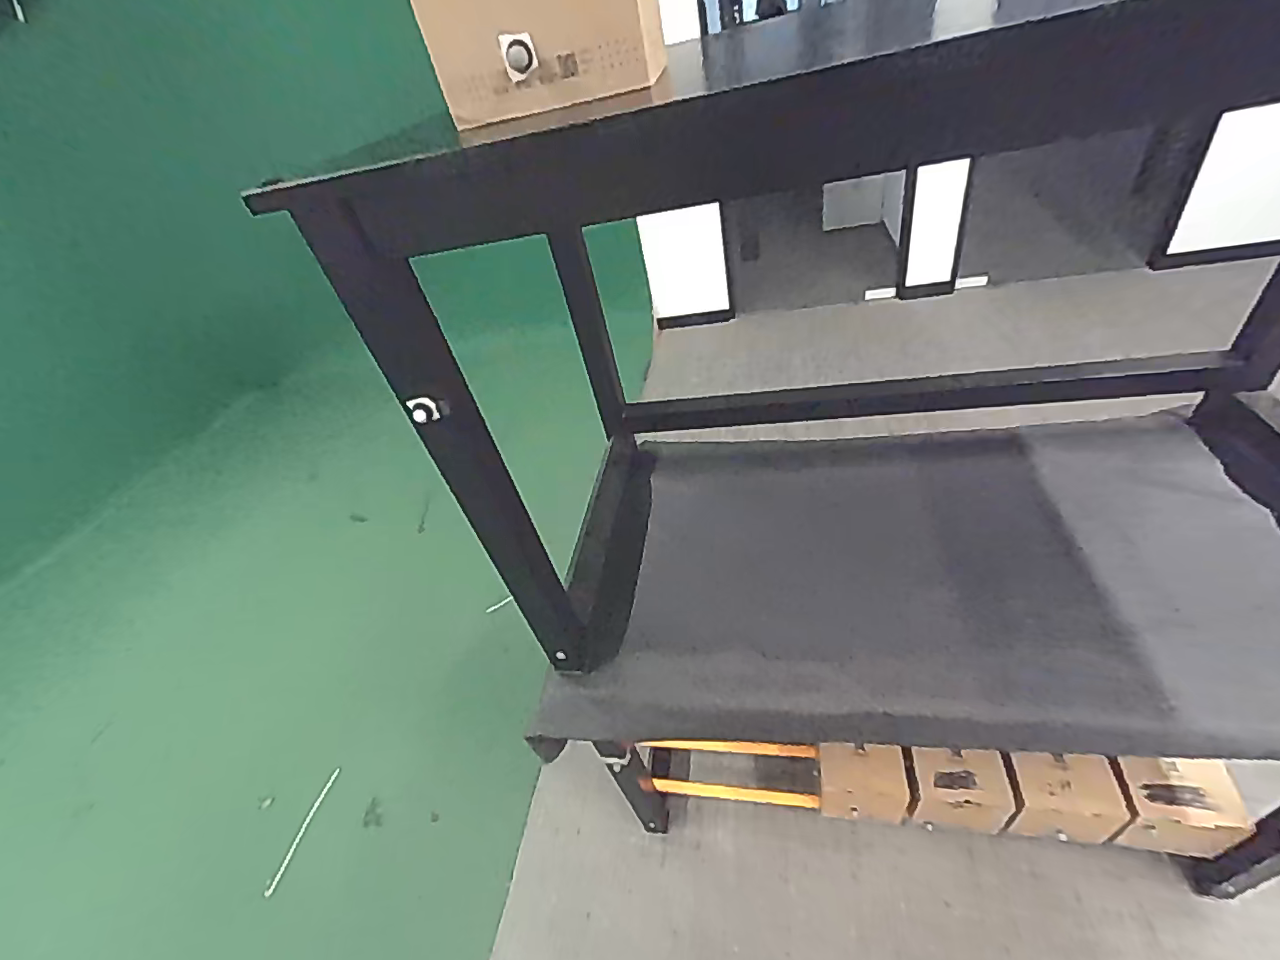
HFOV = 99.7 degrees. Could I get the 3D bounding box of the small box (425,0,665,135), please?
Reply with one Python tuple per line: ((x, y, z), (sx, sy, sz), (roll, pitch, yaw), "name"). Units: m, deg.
((-0.076, -0.407, 0.449), (0.168, 0.176, 0.179), (-7, 40, 12), "small box")
